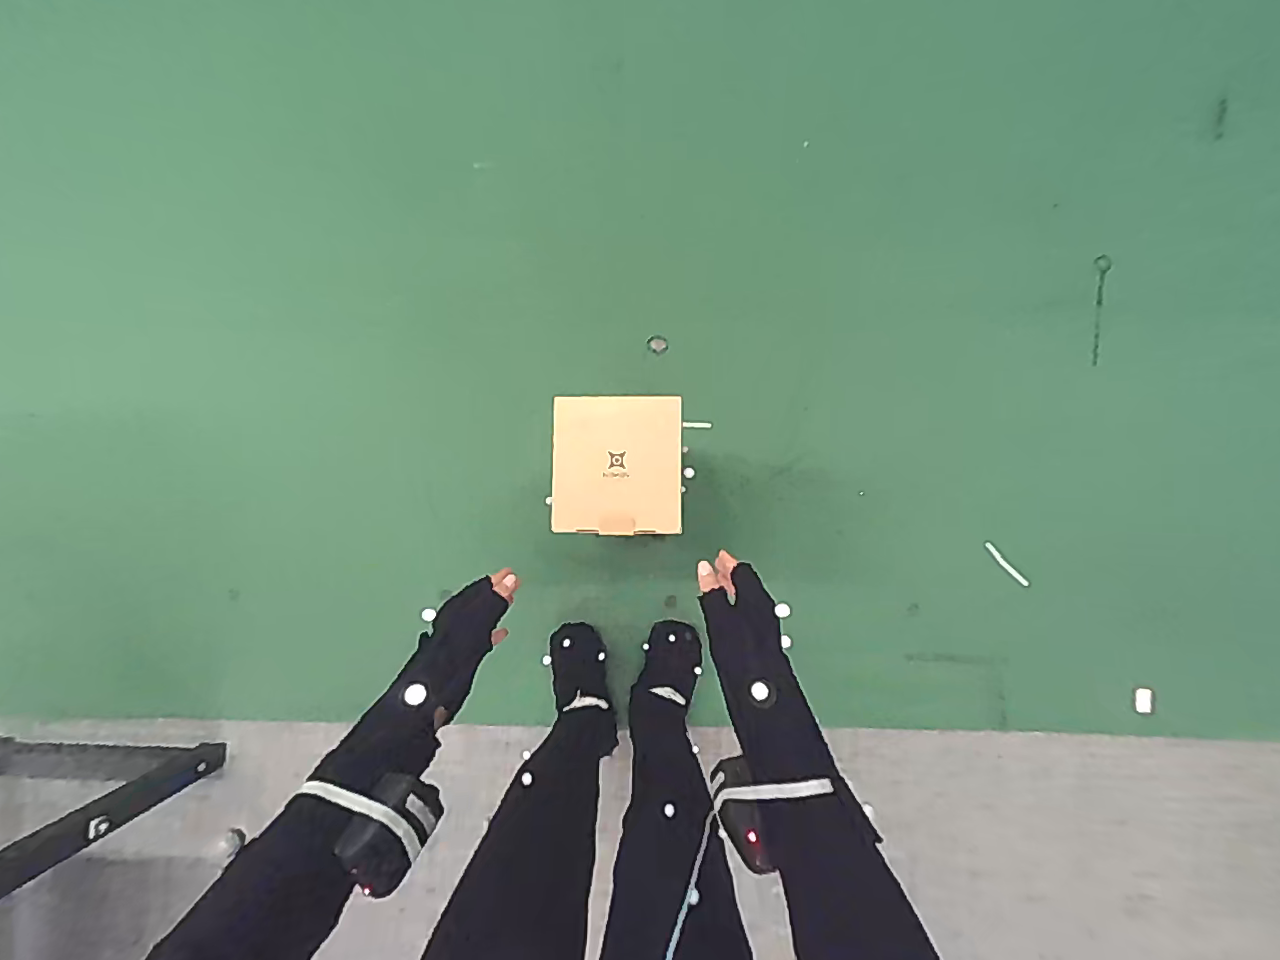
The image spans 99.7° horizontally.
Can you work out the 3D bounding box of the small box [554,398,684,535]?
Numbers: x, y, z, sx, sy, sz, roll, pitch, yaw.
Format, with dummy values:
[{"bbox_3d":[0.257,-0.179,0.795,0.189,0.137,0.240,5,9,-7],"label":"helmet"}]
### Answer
[{"bbox_3d":[-0.023,-0.013,0.769,0.168,0.176,0.179,0,87,3],"label":"small box"}]
